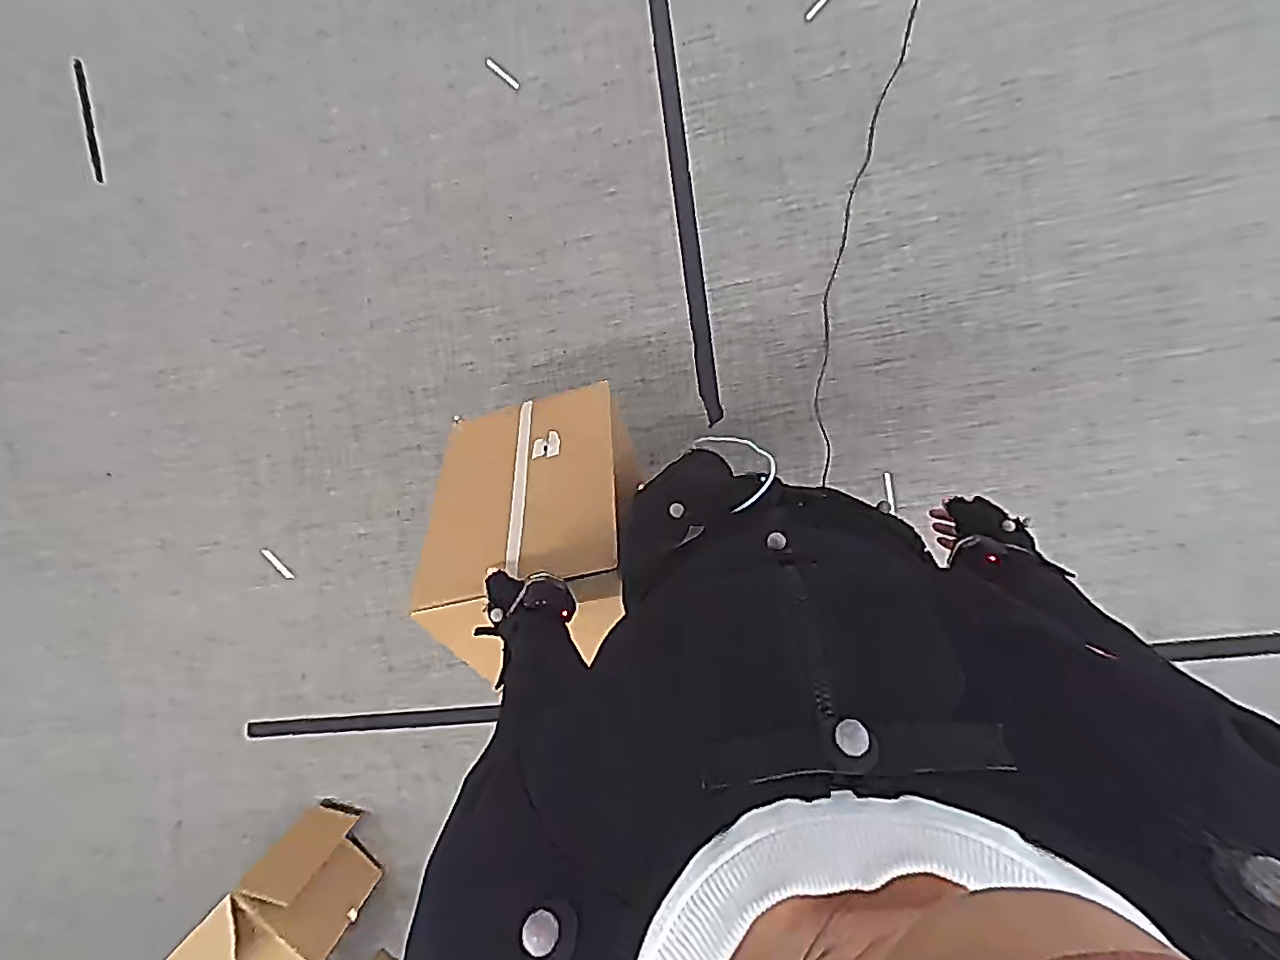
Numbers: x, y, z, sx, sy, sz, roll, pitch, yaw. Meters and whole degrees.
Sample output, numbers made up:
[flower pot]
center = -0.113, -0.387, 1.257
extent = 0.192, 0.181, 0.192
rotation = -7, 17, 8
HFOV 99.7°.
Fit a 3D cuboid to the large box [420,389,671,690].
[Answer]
[large box]
center = -0.147, 0.108, 0.985
extent = 0.320, 0.320, 0.408
rotation = -13, 47, 7
